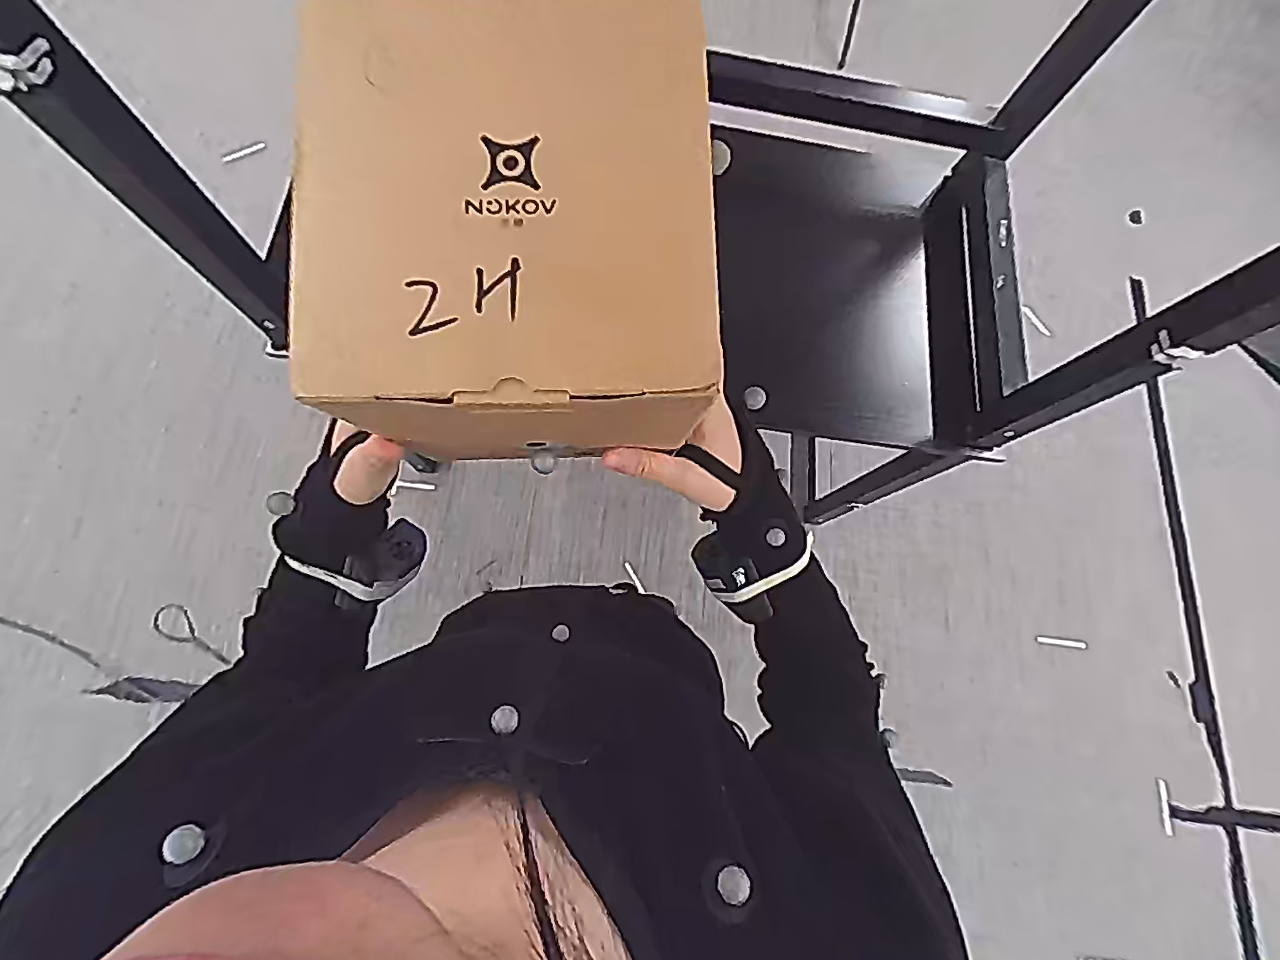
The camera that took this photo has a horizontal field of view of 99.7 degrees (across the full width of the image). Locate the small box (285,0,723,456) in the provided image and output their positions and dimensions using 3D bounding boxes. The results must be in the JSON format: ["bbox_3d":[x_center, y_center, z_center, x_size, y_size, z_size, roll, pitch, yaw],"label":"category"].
[{"bbox_3d":[-0.055,-0.111,0.291,0.168,0.176,0.179,-1,85,-3],"label":"small box"}]
